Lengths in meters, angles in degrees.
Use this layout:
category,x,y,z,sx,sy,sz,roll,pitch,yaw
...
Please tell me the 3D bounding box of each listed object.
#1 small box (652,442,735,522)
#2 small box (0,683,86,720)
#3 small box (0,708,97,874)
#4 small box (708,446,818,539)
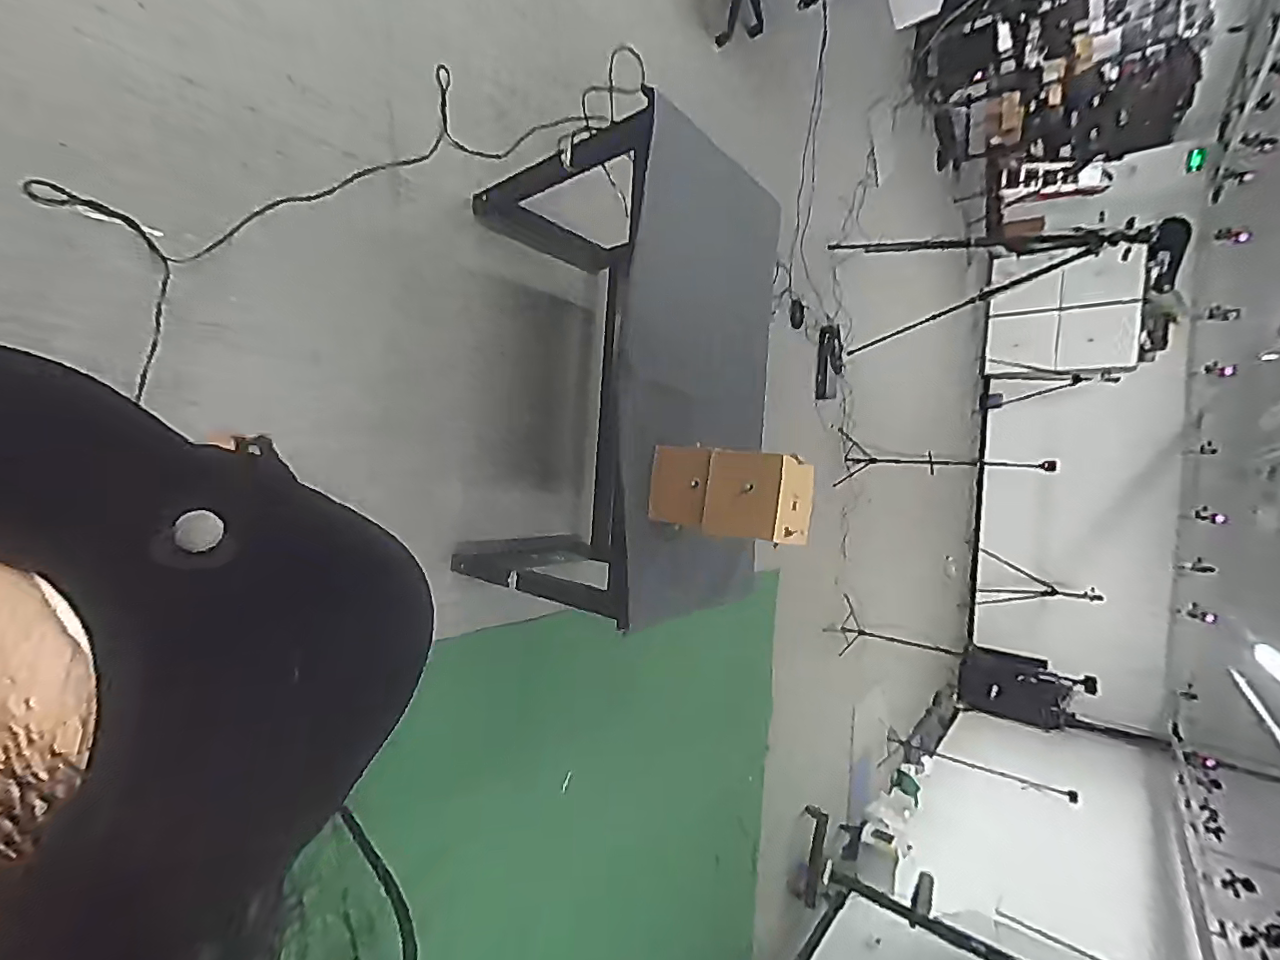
category,x,y,z,sx,sy,sz,roll,pitch,yaw
small box,0.145,0.006,1.261,0.168,0.176,0.179,8,88,-50
small box,-1.071,0.460,0.911,0.179,0.176,0.168,4,89,-49
small box,-0.947,0.464,0.804,0.179,0.176,0.168,6,88,-50
small box,0.259,0.027,1.143,0.168,0.176,0.179,12,83,-50
